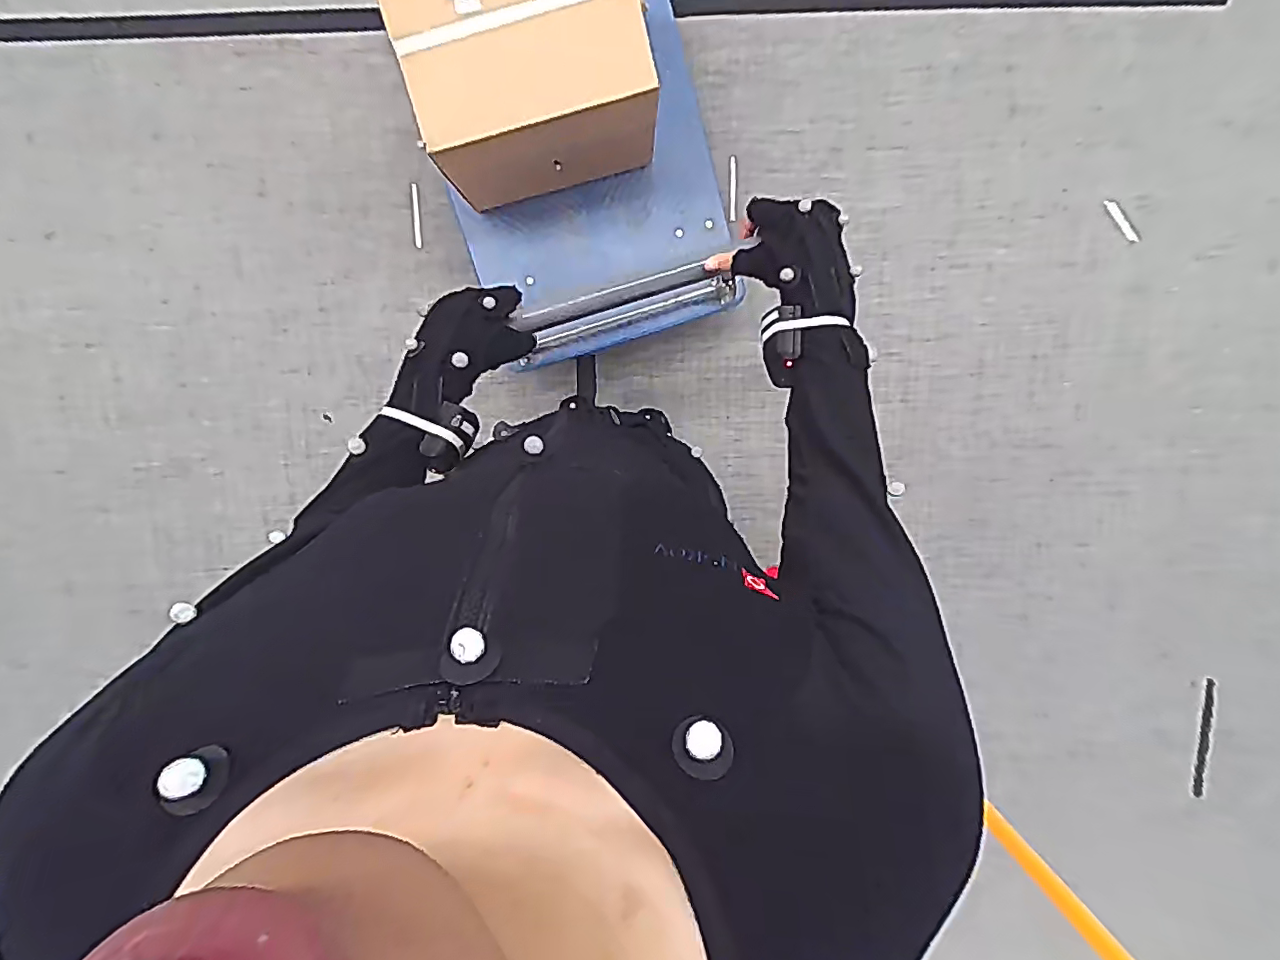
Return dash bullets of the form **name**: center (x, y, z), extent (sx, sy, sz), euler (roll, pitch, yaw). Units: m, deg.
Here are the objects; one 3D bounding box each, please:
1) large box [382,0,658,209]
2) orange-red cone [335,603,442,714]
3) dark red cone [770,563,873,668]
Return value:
- **large box**: center (-0.200, -0.768, 1.025), extent (0.408, 0.320, 0.320), euler (-15, 99, 2)
- **orange-red cone**: center (-0.660, 0.471, 1.361), extent (0.198, 0.360, 0.199), euler (6, 97, -3)
- **dark red cone**: center (0.468, 0.355, 1.339), extent (0.201, 0.394, 0.202), euler (-2, 99, -2)
